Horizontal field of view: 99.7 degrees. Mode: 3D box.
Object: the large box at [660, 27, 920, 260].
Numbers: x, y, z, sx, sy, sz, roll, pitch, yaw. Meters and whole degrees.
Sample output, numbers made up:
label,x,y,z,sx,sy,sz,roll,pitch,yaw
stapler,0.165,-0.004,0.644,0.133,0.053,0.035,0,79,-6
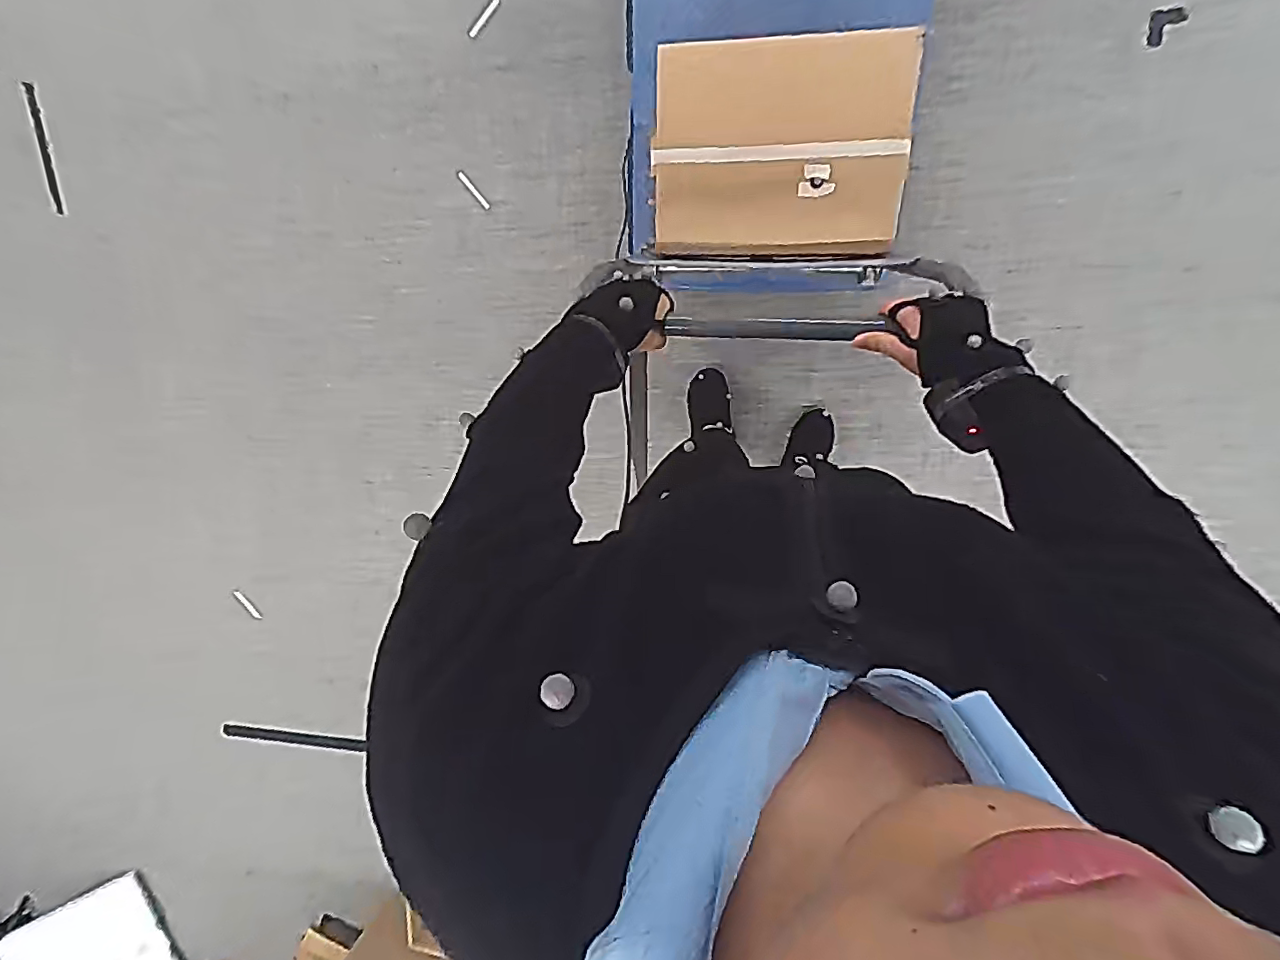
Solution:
label,x,y,z,sx,sy,sz,roll,pitch,yaw
large box,0.254,-0.599,1.036,0.408,0.320,0.320,3,111,9
